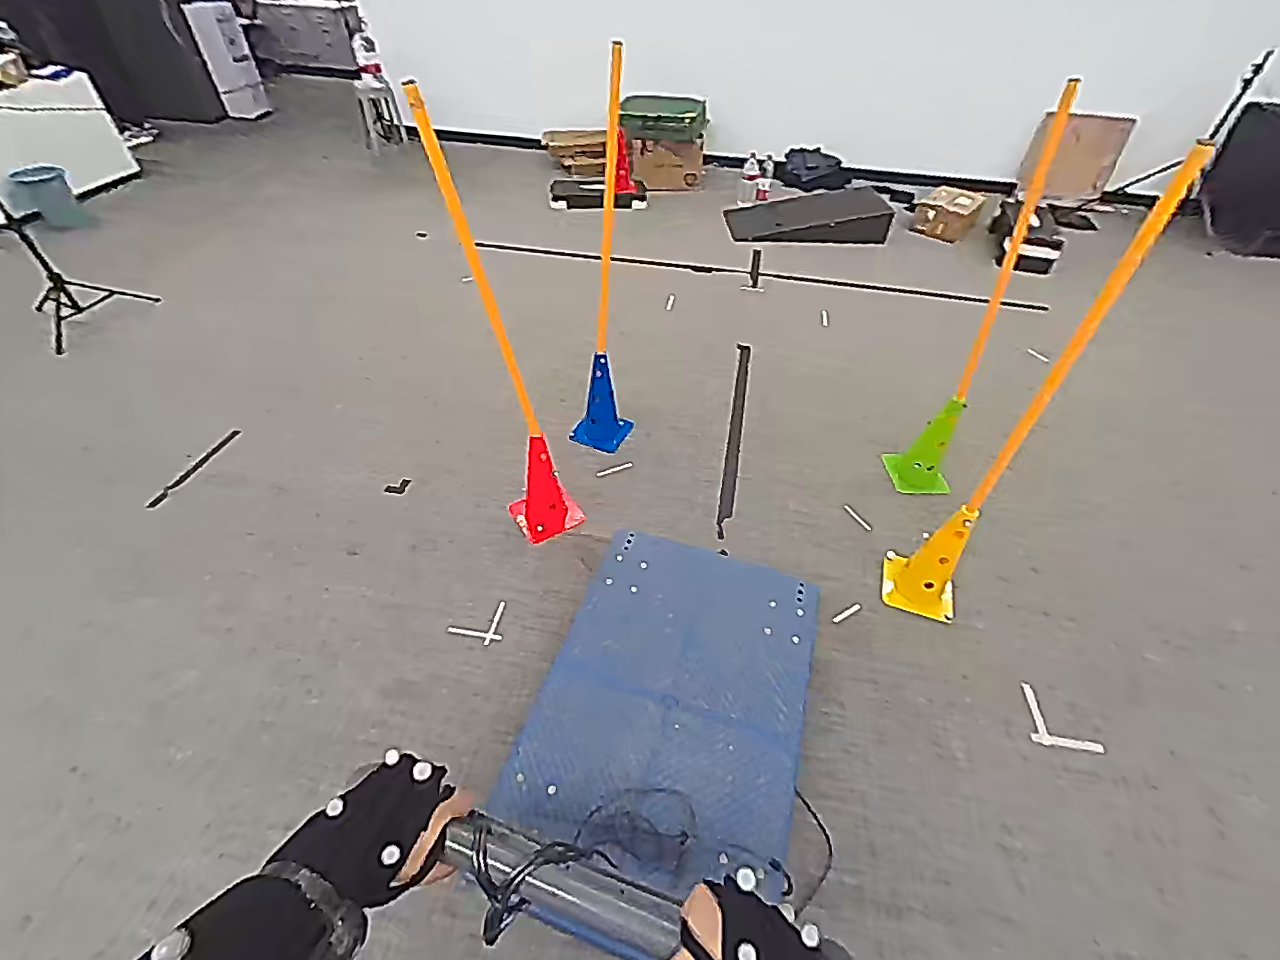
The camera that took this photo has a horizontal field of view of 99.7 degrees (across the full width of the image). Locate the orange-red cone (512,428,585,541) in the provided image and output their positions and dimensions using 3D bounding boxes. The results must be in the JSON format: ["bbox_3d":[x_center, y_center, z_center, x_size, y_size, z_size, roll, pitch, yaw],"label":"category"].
[{"bbox_3d":[-0.294,-0.015,1.673,0.199,0.360,0.198,-23,52,-25],"label":"orange-red cone"}]

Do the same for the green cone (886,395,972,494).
[{"bbox_3d":[1.034,-0.143,1.866,0.200,0.368,0.202,0,47,-3],"label":"green cone"}]

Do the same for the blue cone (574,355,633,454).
[{"bbox_3d":[-0.133,-0.296,1.976,0.193,0.380,0.192,21,49,16],"label":"blue cone"}]
